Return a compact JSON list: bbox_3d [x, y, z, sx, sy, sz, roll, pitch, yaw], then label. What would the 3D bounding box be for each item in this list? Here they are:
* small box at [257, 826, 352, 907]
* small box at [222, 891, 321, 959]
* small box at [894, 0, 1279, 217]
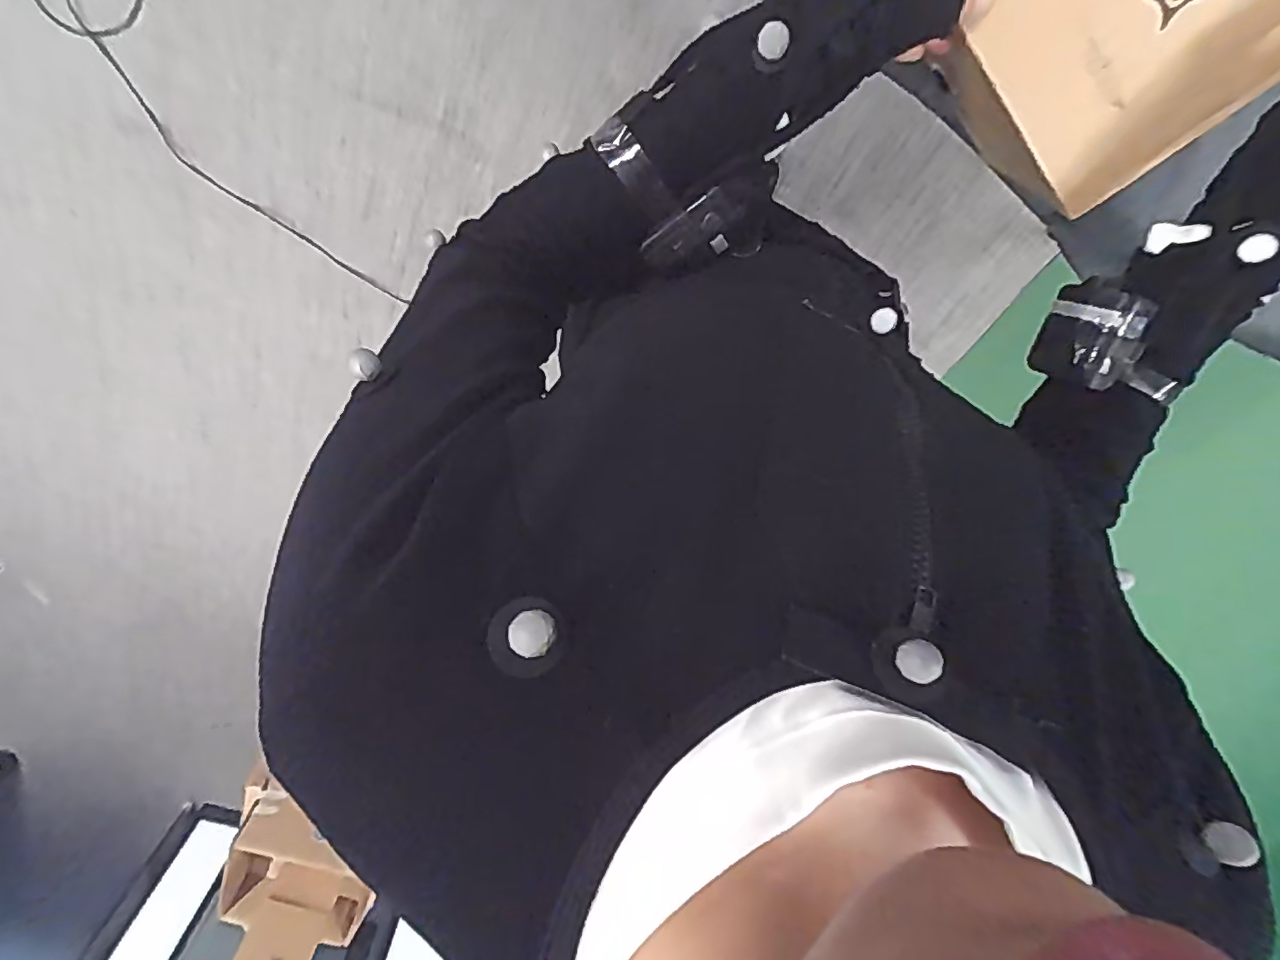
[{"bbox_3d":[-0.992,1.156,1.599,0.179,0.176,0.168,25,125,-11],"label":"small box"},{"bbox_3d":[-1.003,1.247,1.463,0.179,0.176,0.168,27,123,-13],"label":"small box"},{"bbox_3d":[0.296,-0.317,0.344,0.168,0.176,0.179,37,129,-23],"label":"small box"}]
